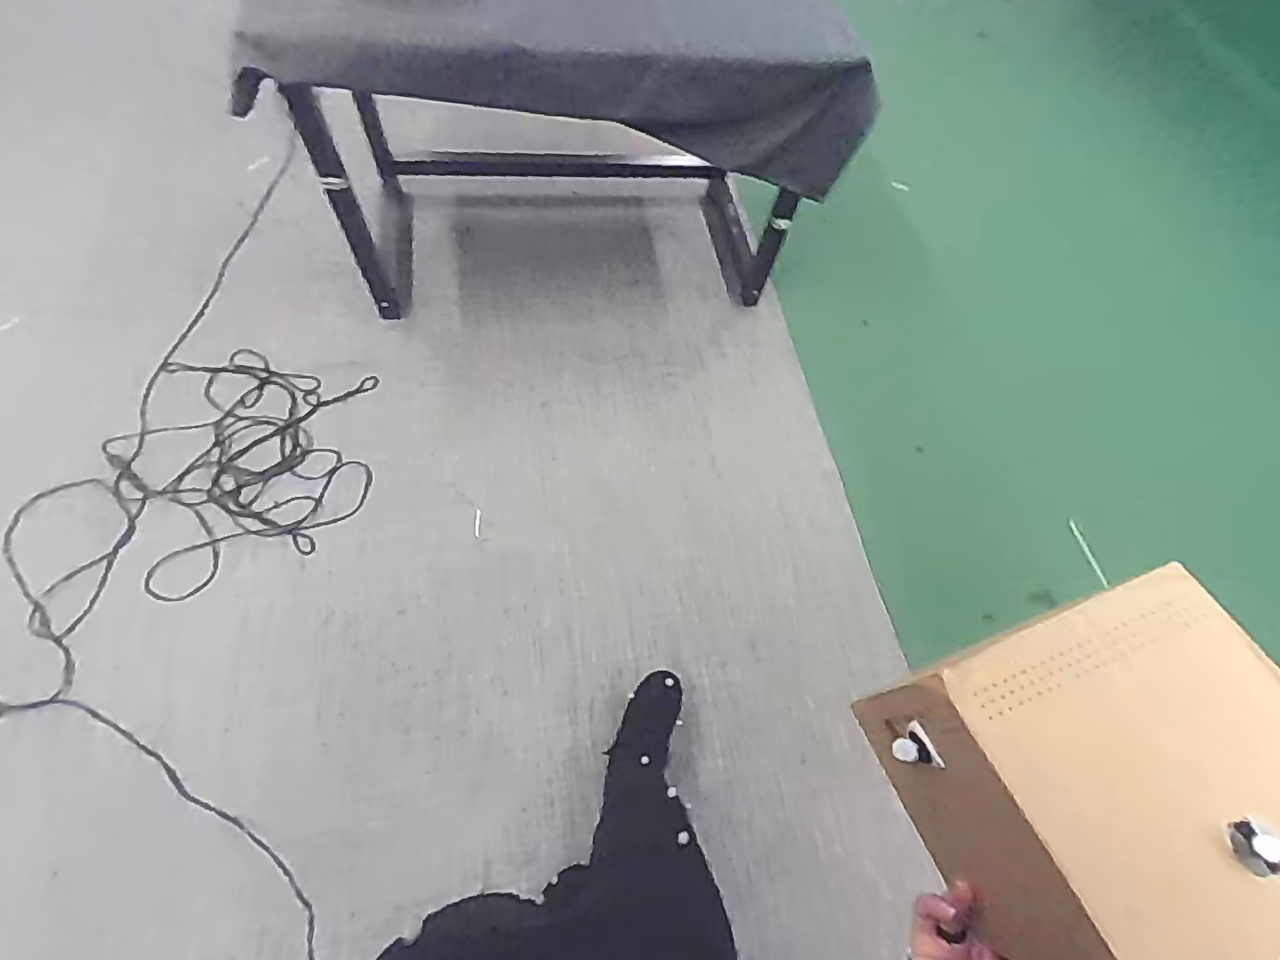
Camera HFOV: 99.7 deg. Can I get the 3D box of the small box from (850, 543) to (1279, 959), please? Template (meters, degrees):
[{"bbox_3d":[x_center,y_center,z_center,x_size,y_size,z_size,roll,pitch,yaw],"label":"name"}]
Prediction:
[{"bbox_3d":[0.274,0.163,0.348,0.179,0.168,0.176,-21,62,-8],"label":"small box"}]
